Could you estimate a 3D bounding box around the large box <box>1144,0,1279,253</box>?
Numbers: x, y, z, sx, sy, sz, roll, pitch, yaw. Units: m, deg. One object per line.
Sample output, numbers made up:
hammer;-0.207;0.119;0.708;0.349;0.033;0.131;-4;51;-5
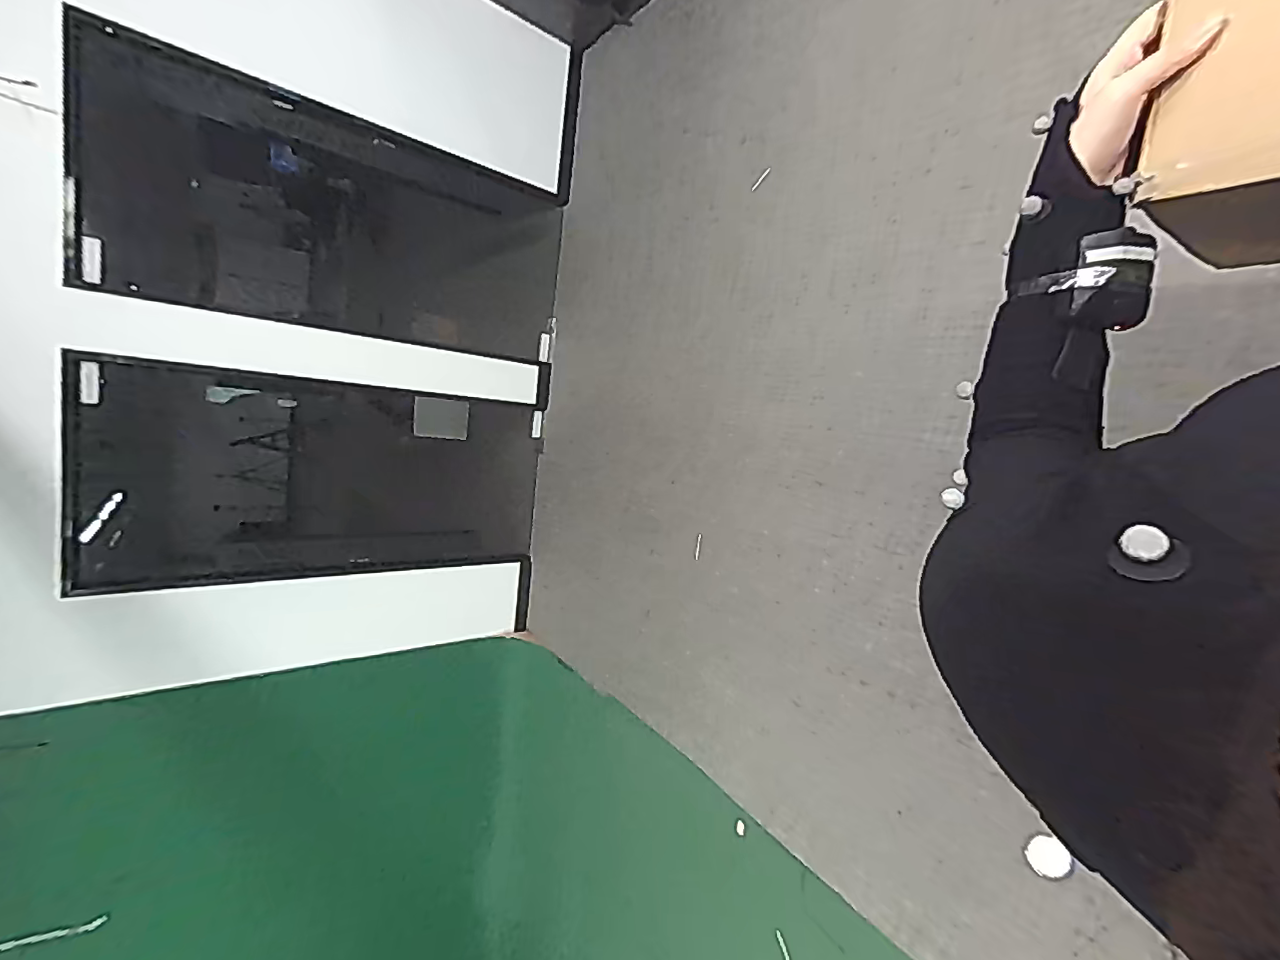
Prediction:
large box;0.619;-0.345;0.307;0.408;0.320;0.320;15;106;54
